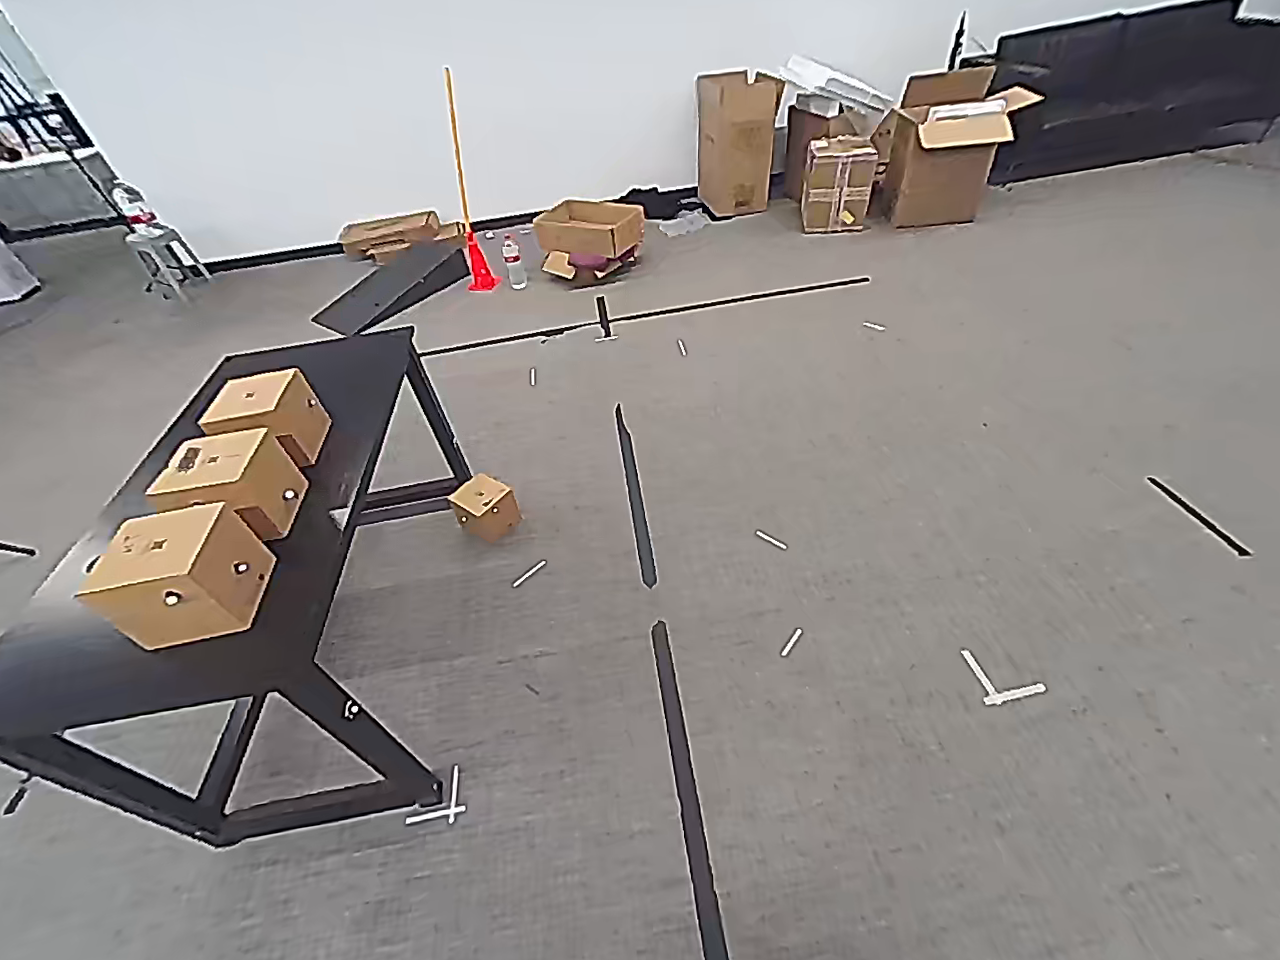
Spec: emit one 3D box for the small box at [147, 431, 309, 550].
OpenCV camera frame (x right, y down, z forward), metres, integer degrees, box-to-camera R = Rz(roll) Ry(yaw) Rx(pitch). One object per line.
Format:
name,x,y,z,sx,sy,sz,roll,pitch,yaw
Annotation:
small box,-0.834,0.025,1.117,0.179,0.176,0.168,-10,44,-2

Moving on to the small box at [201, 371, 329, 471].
small box,-0.874,-0.130,1.284,0.168,0.176,0.179,-12,45,-2

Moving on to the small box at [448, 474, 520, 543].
small box,-0.583,0.110,2.040,0.179,0.176,0.168,23,52,28
